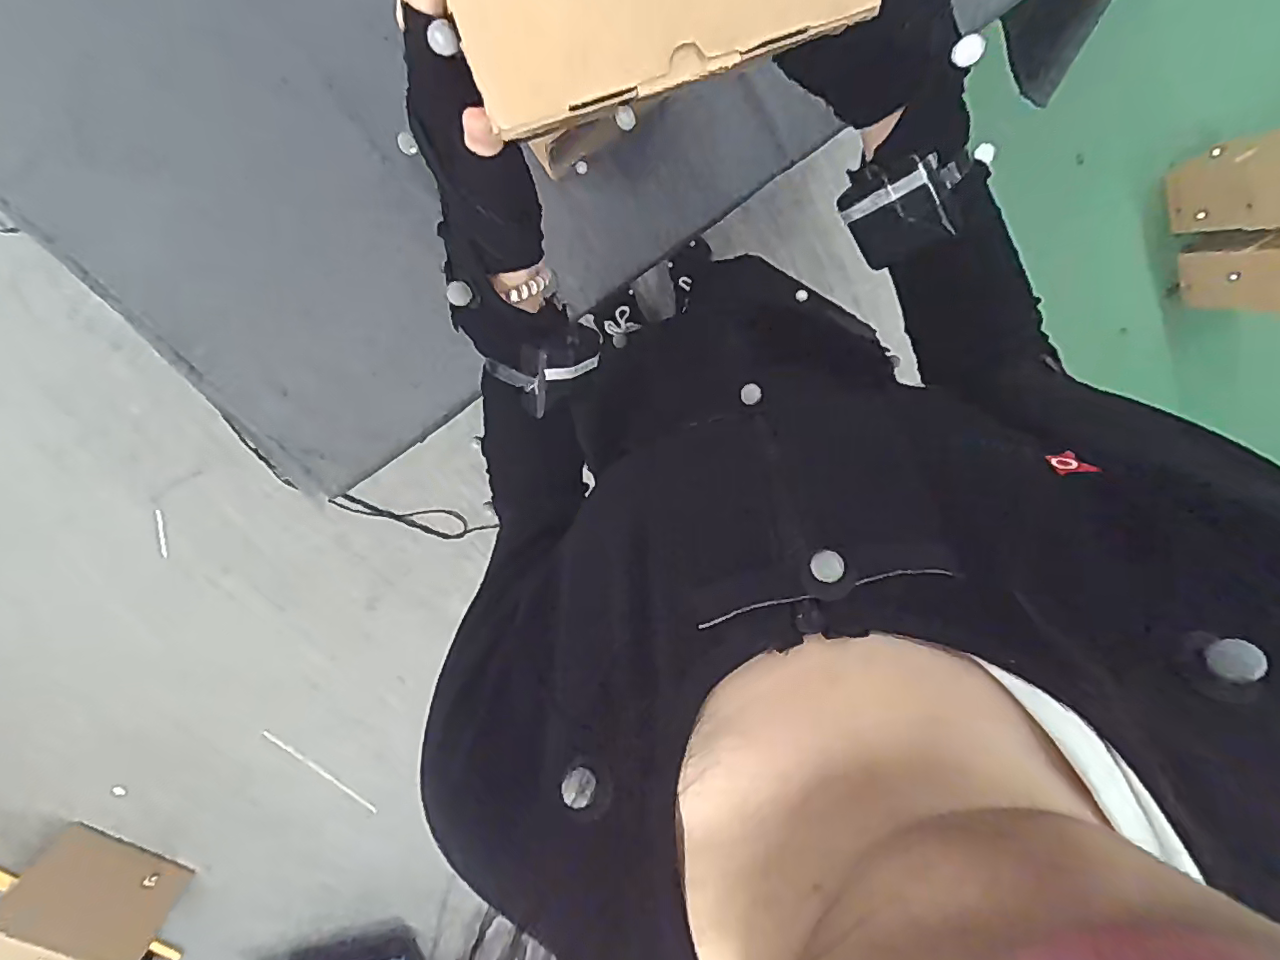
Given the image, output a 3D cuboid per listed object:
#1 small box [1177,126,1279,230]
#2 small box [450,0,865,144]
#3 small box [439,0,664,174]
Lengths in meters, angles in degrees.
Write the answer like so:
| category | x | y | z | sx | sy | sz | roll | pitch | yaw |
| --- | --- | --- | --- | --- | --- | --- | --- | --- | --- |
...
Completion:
| category | x | y | z | sx | sy | sz | roll | pitch | yaw |
| --- | --- | --- | --- | --- | --- | --- | --- | --- | --- |
| small box | 1.476 | -0.737 | 1.326 | 0.179 | 0.176 | 0.168 | -30 | 110 | 5 |
| small box | -0.018 | -0.278 | 0.252 | 0.168 | 0.176 | 0.179 | -19 | 123 | 1 |
| small box | -0.069 | -0.417 | 0.505 | 0.168 | 0.176 | 0.179 | -35 | 109 | 7 |
